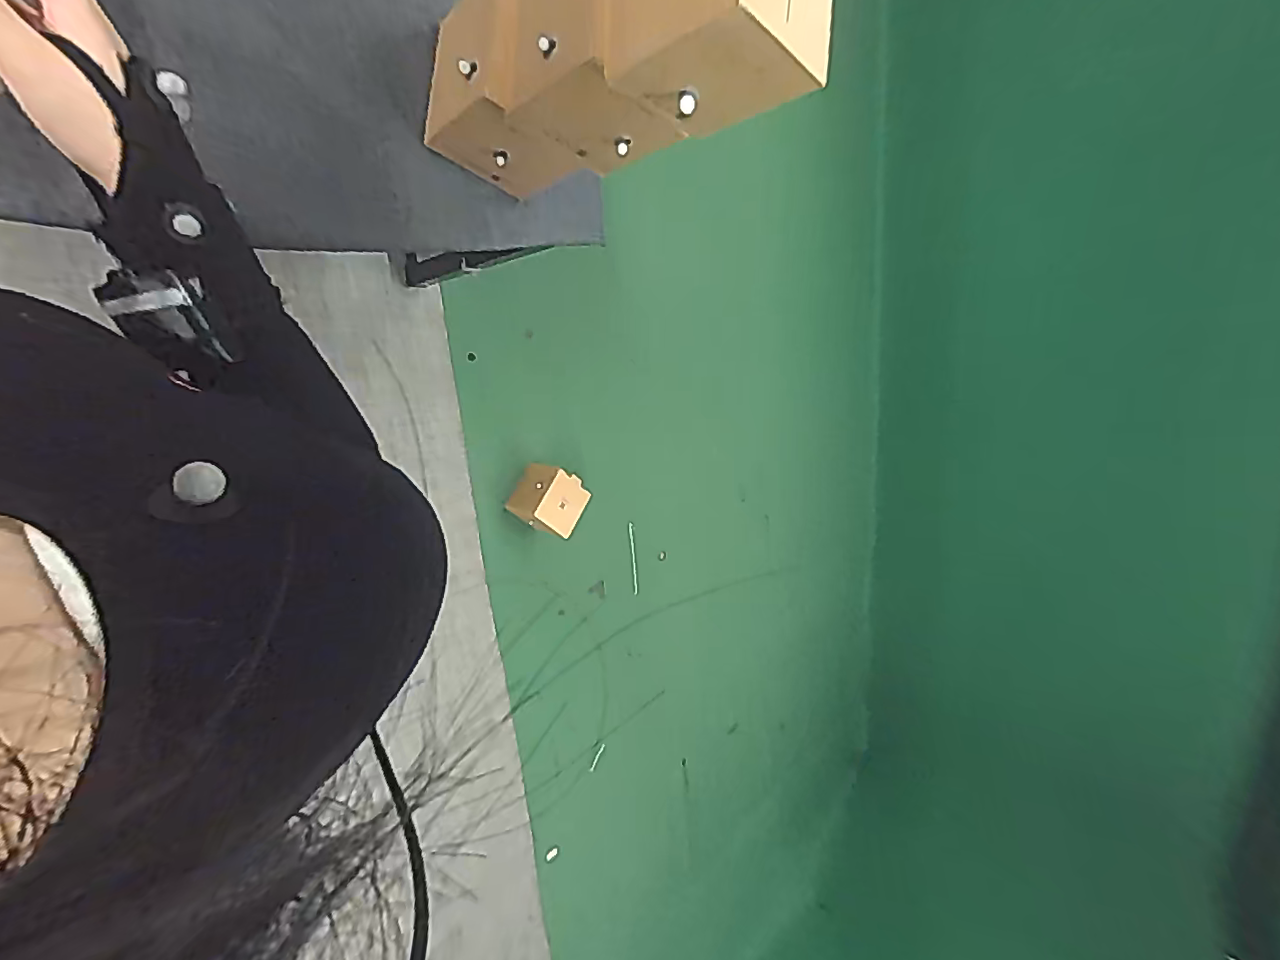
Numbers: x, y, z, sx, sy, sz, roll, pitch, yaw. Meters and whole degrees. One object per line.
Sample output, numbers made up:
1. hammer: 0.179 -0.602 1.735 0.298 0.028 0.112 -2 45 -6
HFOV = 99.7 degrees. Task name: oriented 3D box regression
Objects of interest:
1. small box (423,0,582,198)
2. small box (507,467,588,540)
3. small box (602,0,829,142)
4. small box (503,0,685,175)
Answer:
1. small box: -0.179 -0.526 0.747 0.168 0.176 0.179 9 87 -47
2. small box: -0.310 0.073 1.780 0.168 0.176 0.179 44 65 -41
3. small box: 0.075 -0.484 0.544 0.168 0.176 0.179 -7 101 -46
4. small box: -0.049 -0.504 0.651 0.168 0.176 0.179 2 93 -47
